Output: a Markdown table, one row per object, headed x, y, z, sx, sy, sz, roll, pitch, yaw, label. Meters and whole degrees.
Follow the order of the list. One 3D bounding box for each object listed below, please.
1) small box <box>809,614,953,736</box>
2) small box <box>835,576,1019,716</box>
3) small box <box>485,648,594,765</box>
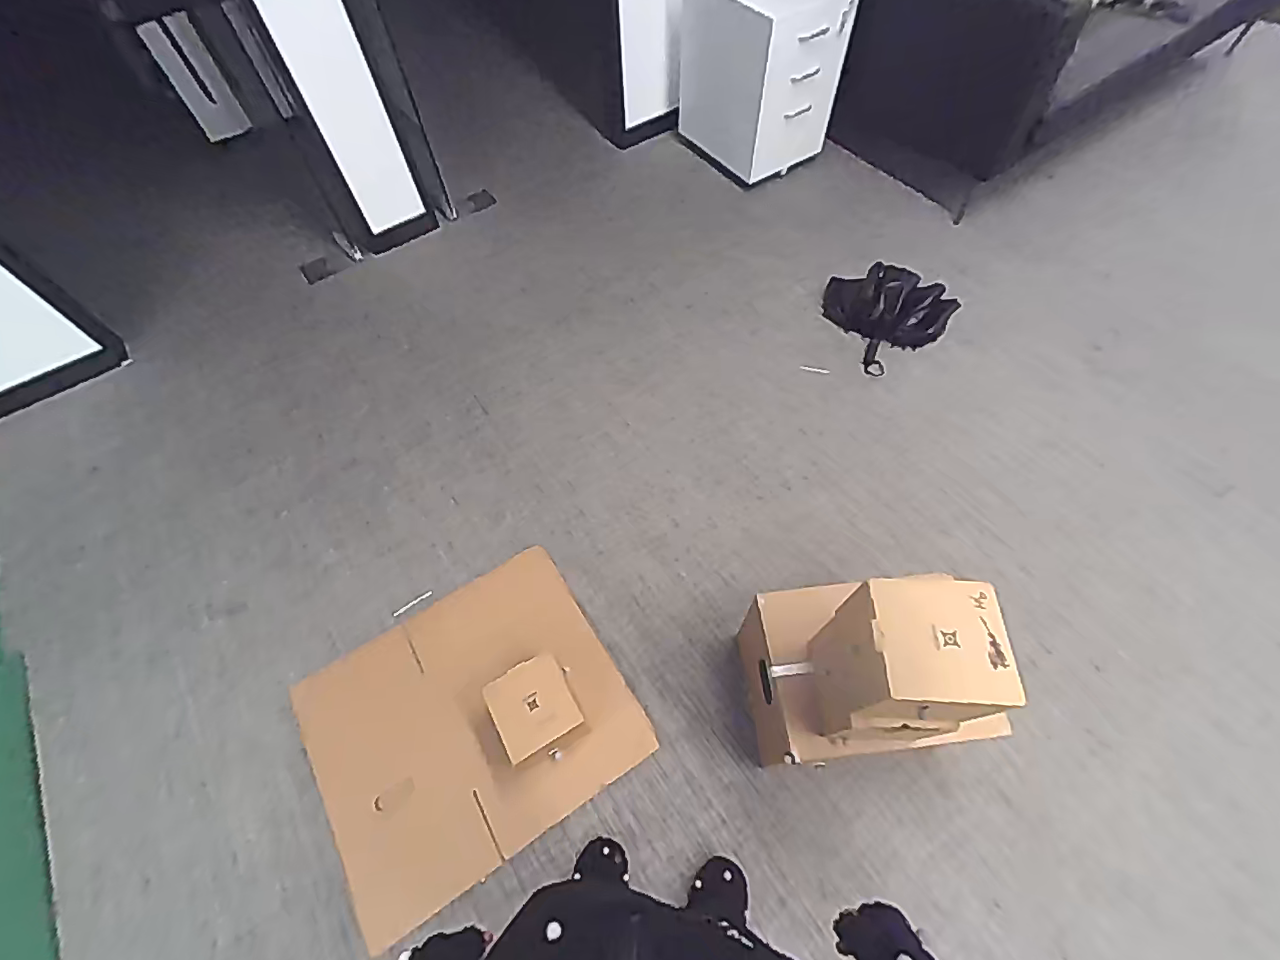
| x | y | z | sx | sy | sz | roll | pitch | yaw | label |
| --- | --- | --- | --- | --- | --- | --- | --- | --- | --- |
| 0.402 | 0.342 | 0.936 | 0.168 | 0.176 | 0.179 | 0 | 60 | 2 | small box |
| 0.404 | 0.251 | 0.803 | 0.179 | 0.176 | 0.168 | 0 | 58 | 1 | small box |
| -0.218 | 0.509 | 1.205 | 0.168 | 0.176 | 0.179 | -29 | 63 | -13 | small box |
